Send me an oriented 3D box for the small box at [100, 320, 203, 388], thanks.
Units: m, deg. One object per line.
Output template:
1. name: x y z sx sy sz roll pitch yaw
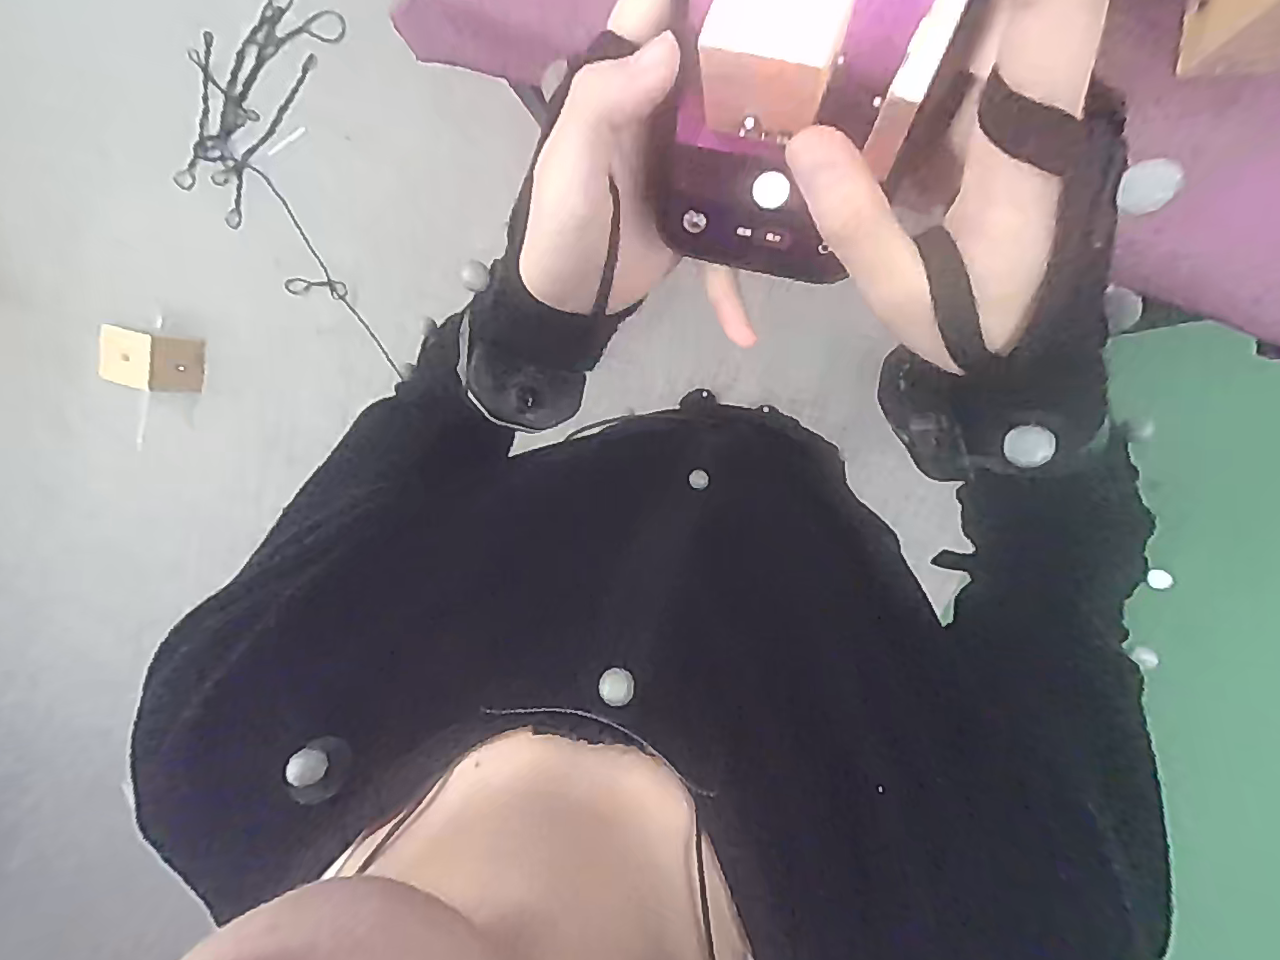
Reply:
1. small box: -1.488 -0.381 1.655 0.179 0.176 0.168 16 101 8

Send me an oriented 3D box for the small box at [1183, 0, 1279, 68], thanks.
1. small box: 0.670 -0.519 0.499 0.179 0.176 0.168 3 98 10
